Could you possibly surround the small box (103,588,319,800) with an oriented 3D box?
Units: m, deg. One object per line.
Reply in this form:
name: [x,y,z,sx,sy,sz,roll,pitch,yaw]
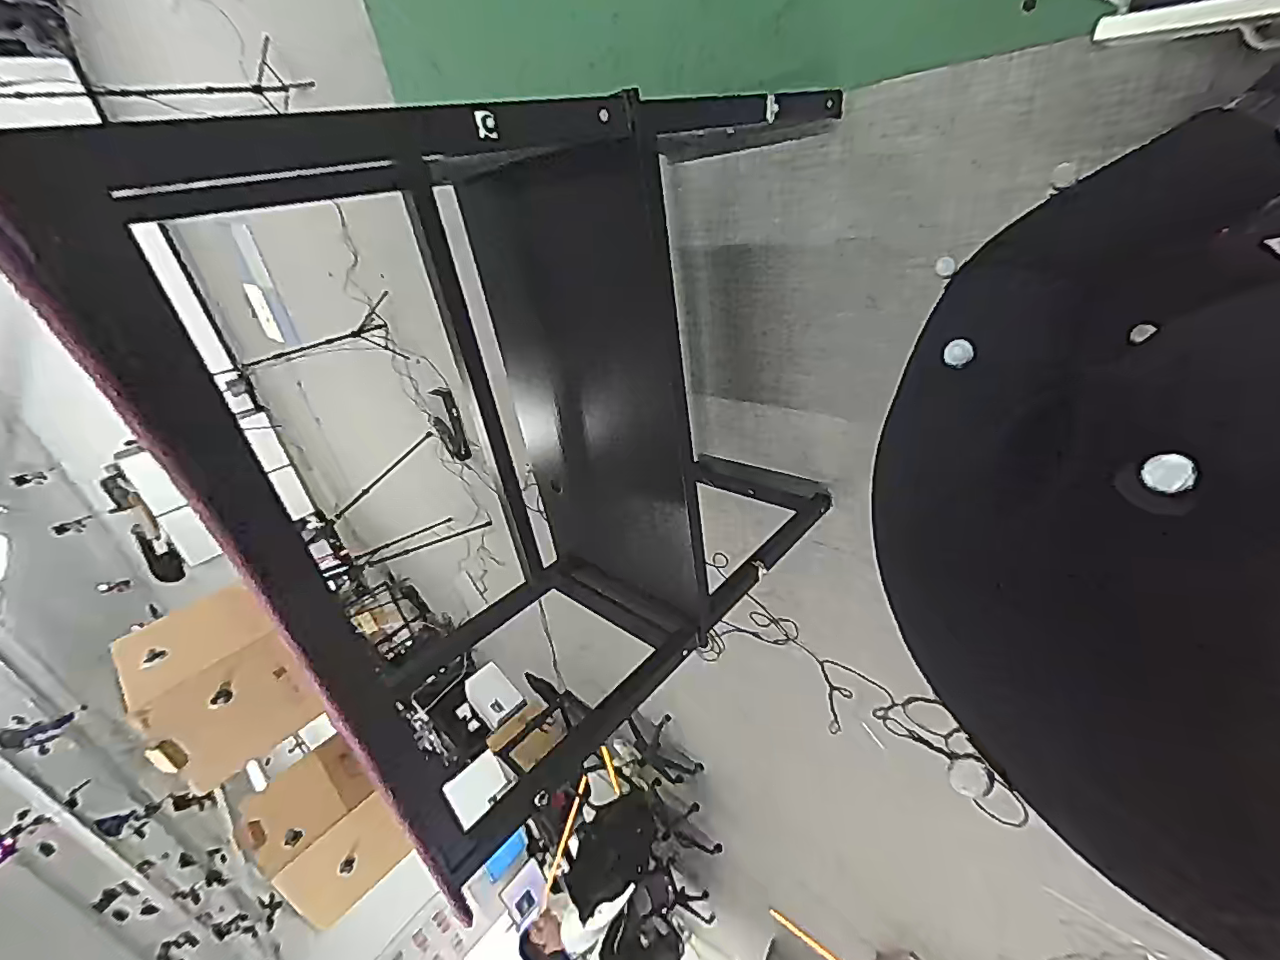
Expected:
small box: [-0.572,0.276,0.738,0.179,0.176,0.168,20,129,40]
